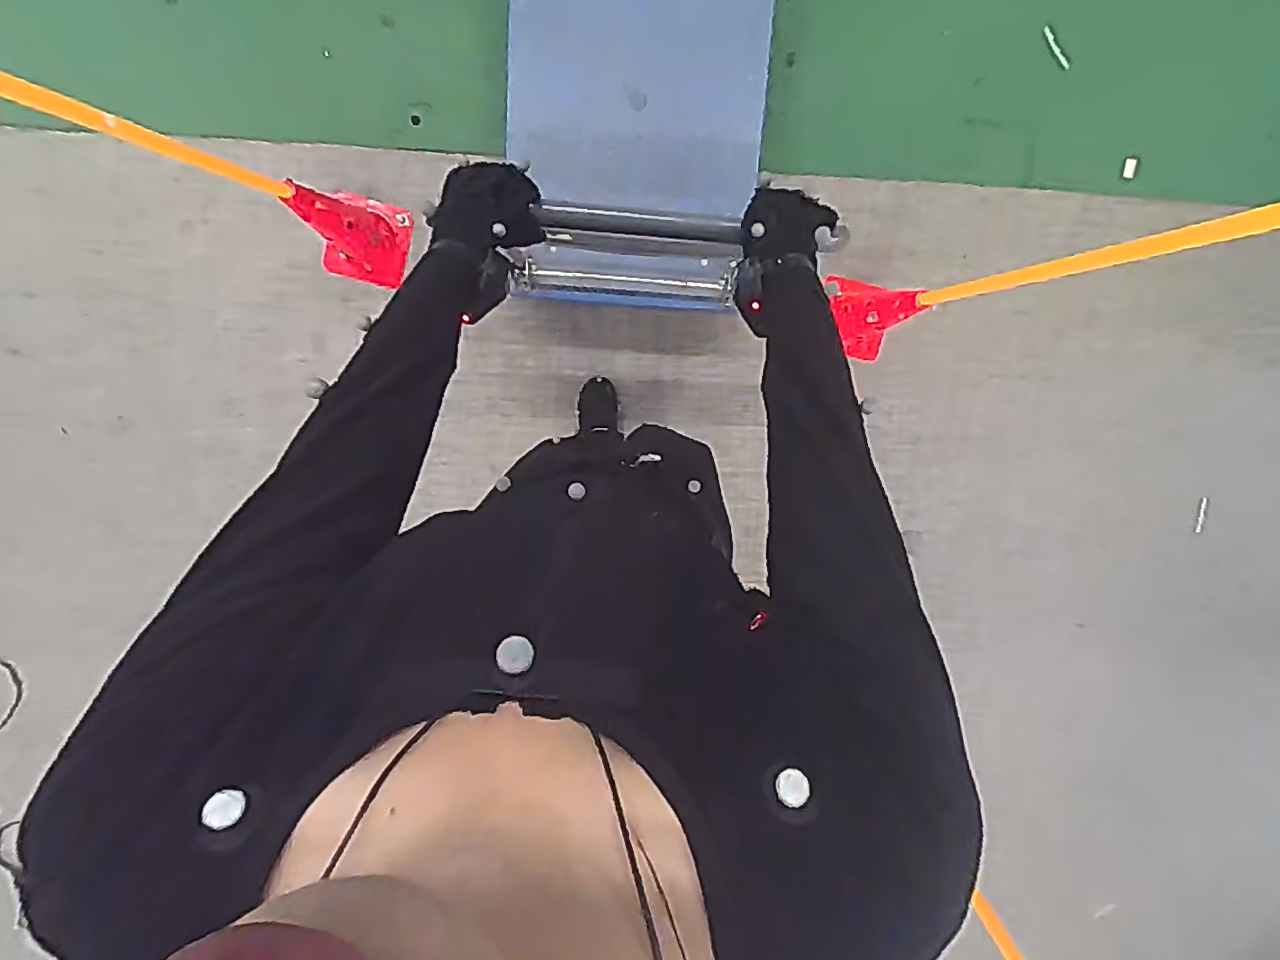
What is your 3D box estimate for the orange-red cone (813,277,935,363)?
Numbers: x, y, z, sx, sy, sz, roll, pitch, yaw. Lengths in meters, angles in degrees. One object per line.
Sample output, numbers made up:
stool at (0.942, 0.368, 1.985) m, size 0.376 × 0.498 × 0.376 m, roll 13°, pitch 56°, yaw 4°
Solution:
orange-red cone at (0.593, -0.406, 1.303) m, size 0.198 × 0.360 × 0.199 m, roll 13°, pitch 99°, yaw -5°
